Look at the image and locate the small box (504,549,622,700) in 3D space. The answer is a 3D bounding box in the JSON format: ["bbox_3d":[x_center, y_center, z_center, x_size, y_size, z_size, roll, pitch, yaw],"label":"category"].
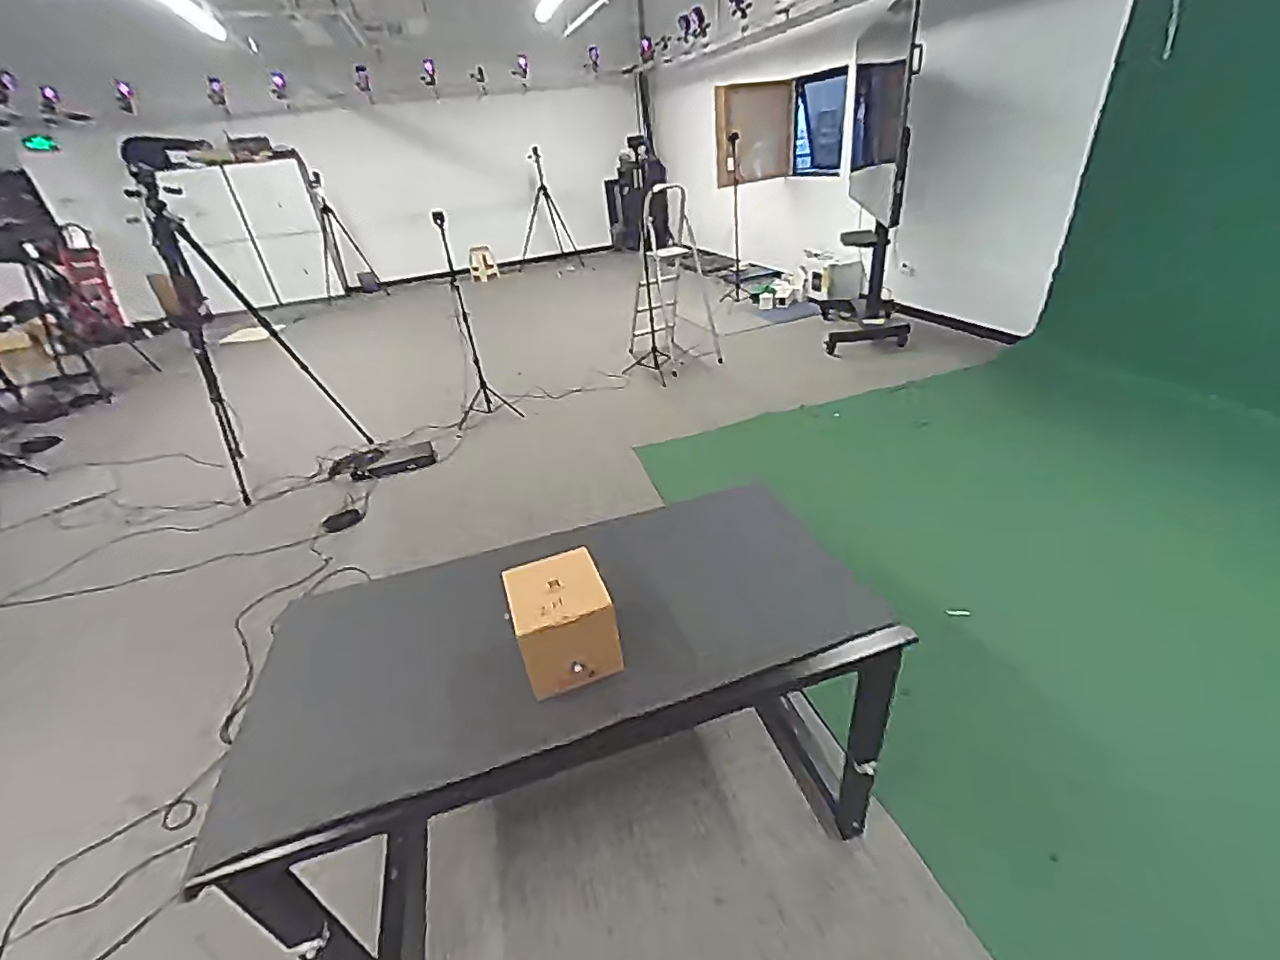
[{"bbox_3d":[-0.141,0.260,0.988,0.168,0.176,0.179,-16,31,-14],"label":"small box"}]
